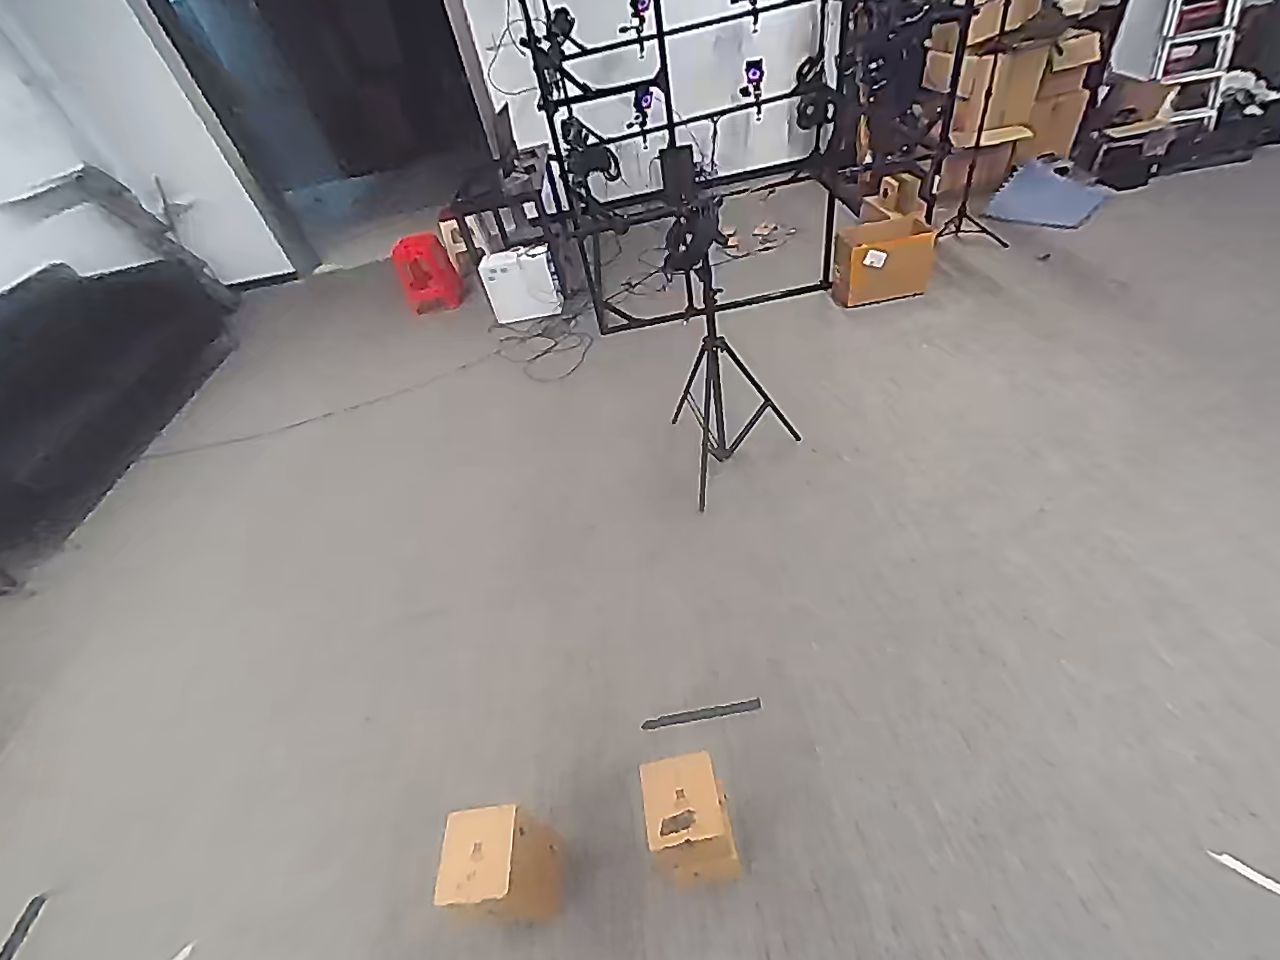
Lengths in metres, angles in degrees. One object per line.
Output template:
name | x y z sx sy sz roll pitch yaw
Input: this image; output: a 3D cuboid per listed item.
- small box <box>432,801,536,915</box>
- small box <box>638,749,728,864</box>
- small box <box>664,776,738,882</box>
small box | -0.342 0.857 1.226 0.168 0.176 0.179 -10 43 5
small box | 0.099 0.747 1.229 0.168 0.176 0.179 -13 41 1
small box | 0.139 0.867 1.334 0.168 0.176 0.179 -13 42 1
